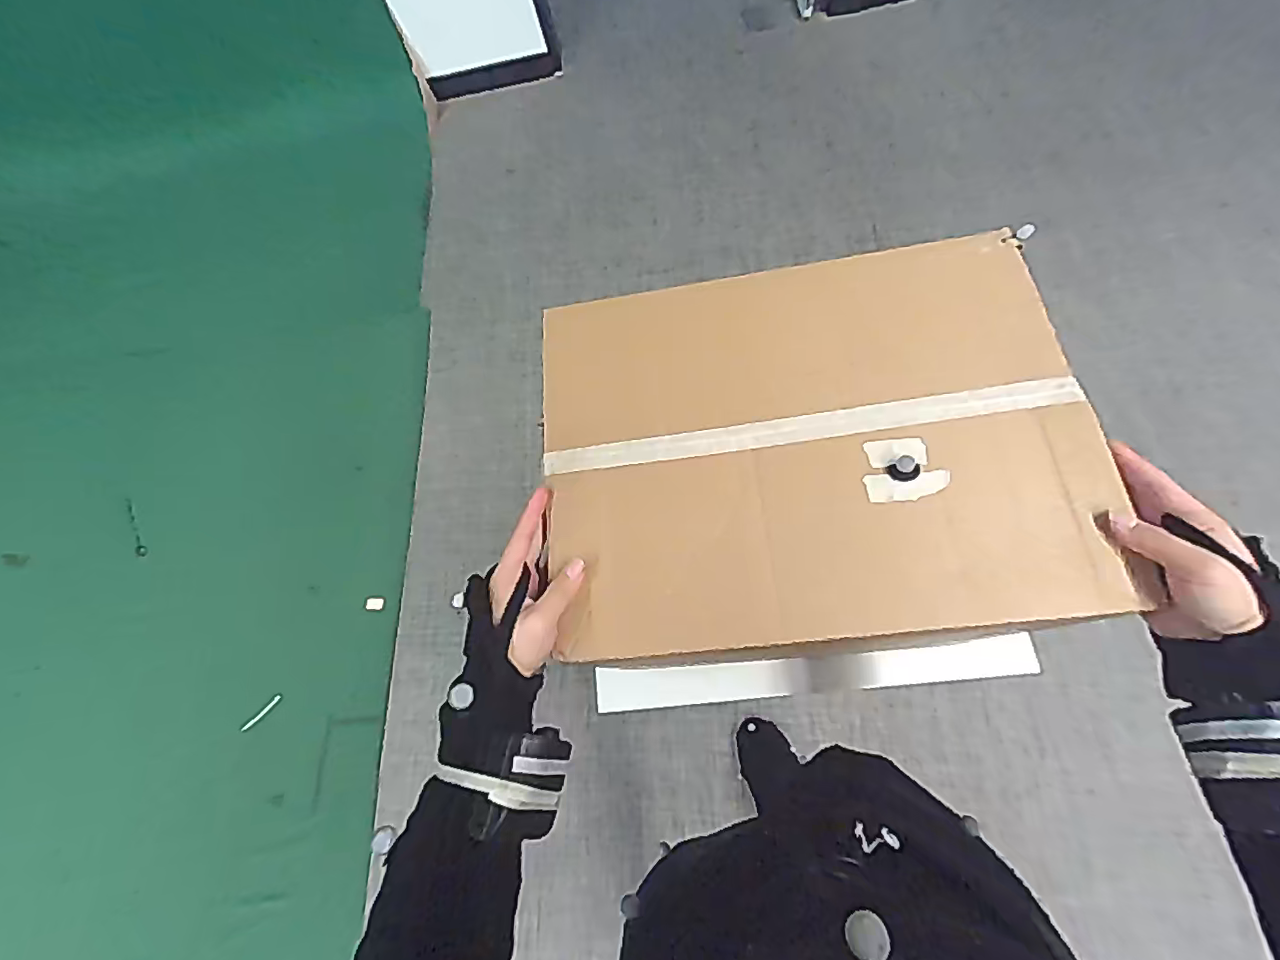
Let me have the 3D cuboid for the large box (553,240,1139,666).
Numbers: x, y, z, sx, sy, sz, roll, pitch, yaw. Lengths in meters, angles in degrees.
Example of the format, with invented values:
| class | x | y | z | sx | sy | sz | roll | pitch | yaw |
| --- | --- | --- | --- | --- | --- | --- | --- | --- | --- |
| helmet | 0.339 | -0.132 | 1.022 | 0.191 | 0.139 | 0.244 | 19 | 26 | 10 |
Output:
| class | x | y | z | sx | sy | sz | roll | pitch | yaw |
| --- | --- | --- | --- | --- | --- | --- | --- | --- | --- |
| large box | 0.146 | 0.012 | 0.570 | 0.408 | 0.320 | 0.320 | -7 | 70 | 6 |
